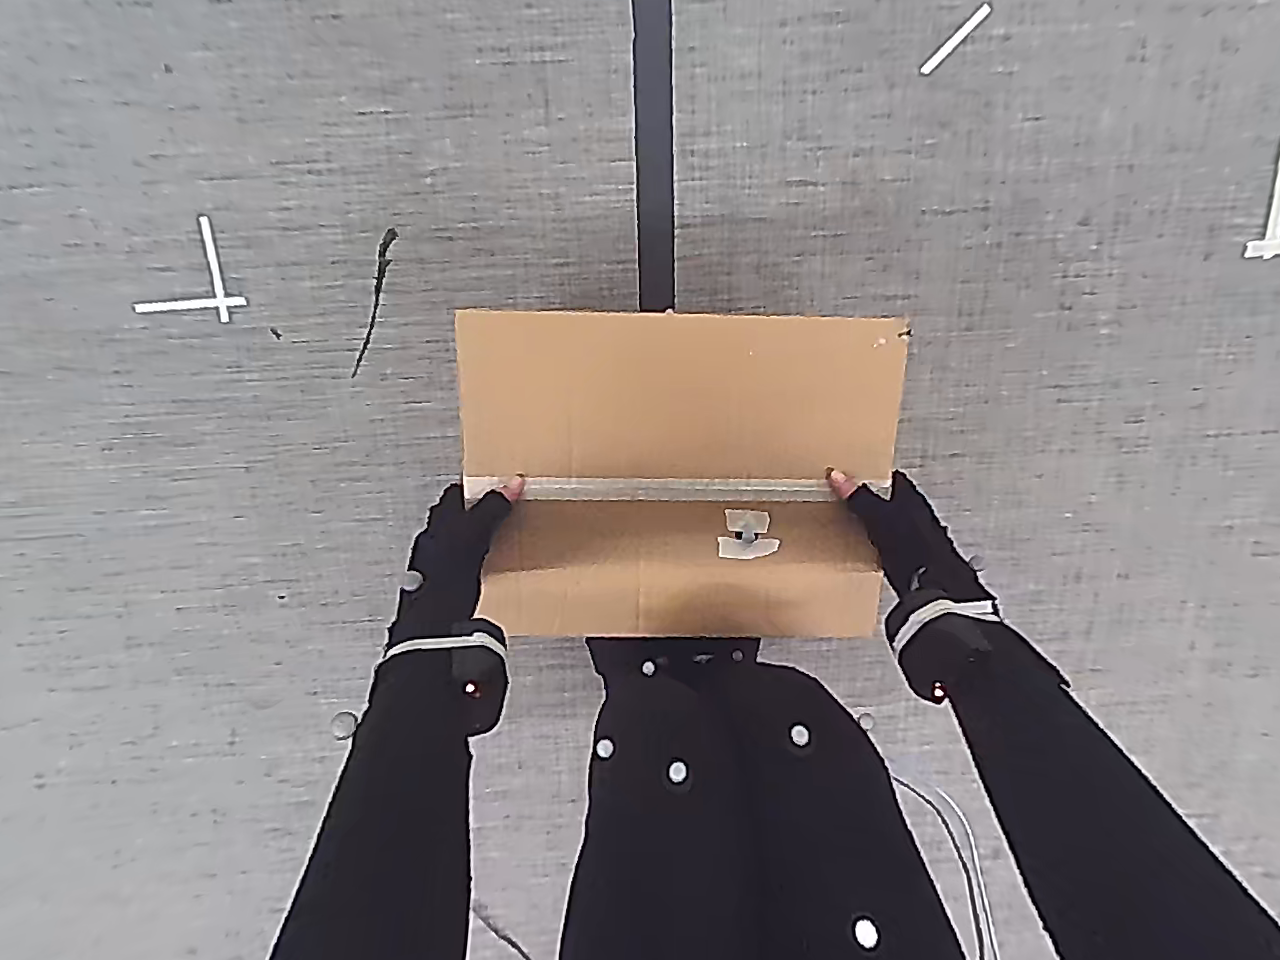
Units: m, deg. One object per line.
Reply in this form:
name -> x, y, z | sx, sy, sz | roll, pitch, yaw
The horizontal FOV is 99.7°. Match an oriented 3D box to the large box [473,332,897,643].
large box -> 0.038, -0.015, 0.678 | 0.408, 0.320, 0.320 | 0, 103, -2
